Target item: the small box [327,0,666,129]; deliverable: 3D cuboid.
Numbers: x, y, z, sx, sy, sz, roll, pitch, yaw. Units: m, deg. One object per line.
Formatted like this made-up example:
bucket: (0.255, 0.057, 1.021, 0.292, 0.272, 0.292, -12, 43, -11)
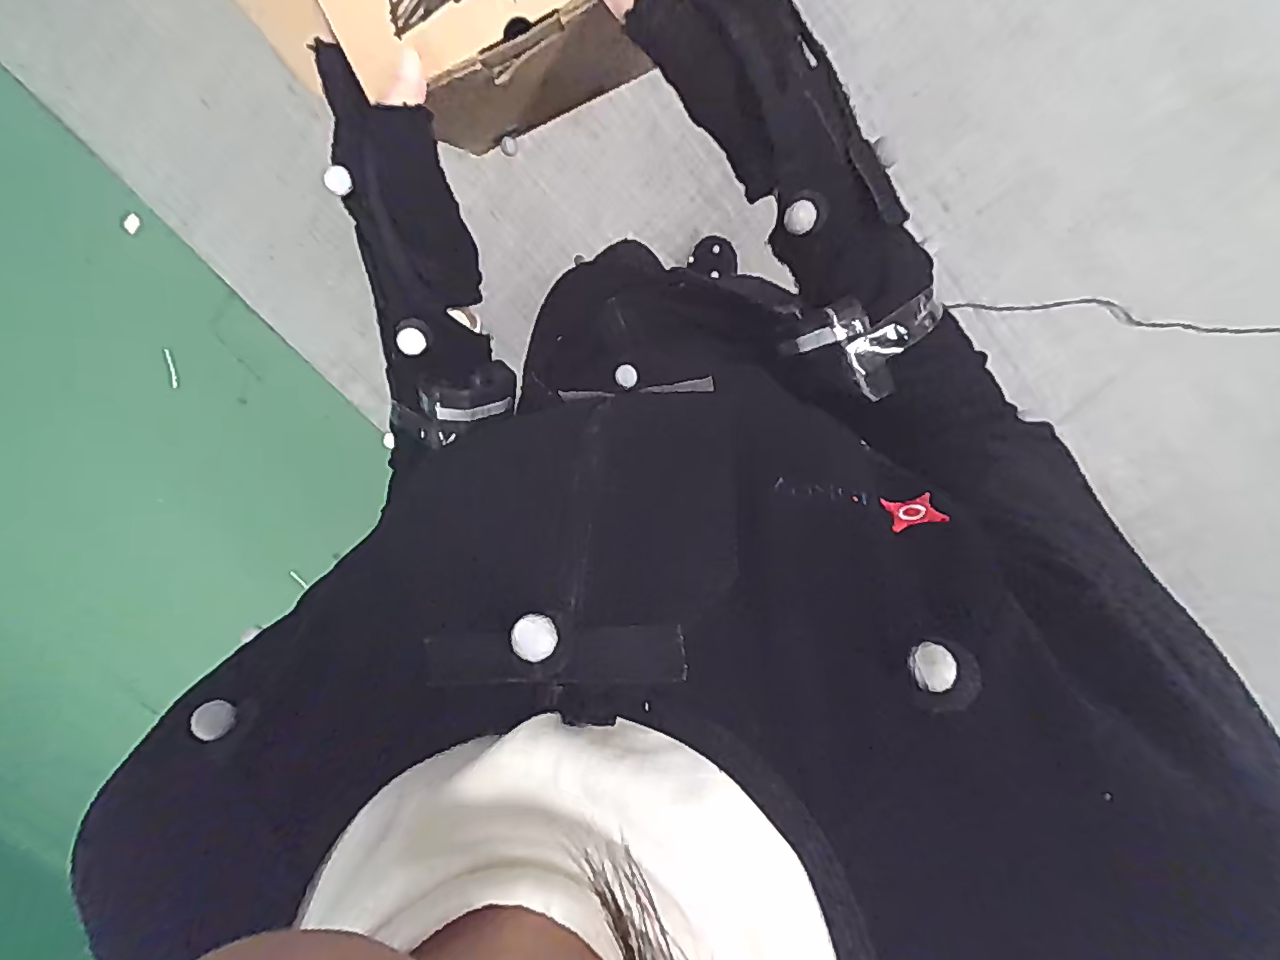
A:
small box: (-0.089, -0.328, 0.305, 0.168, 0.176, 0.179, -22, 113, 13)
